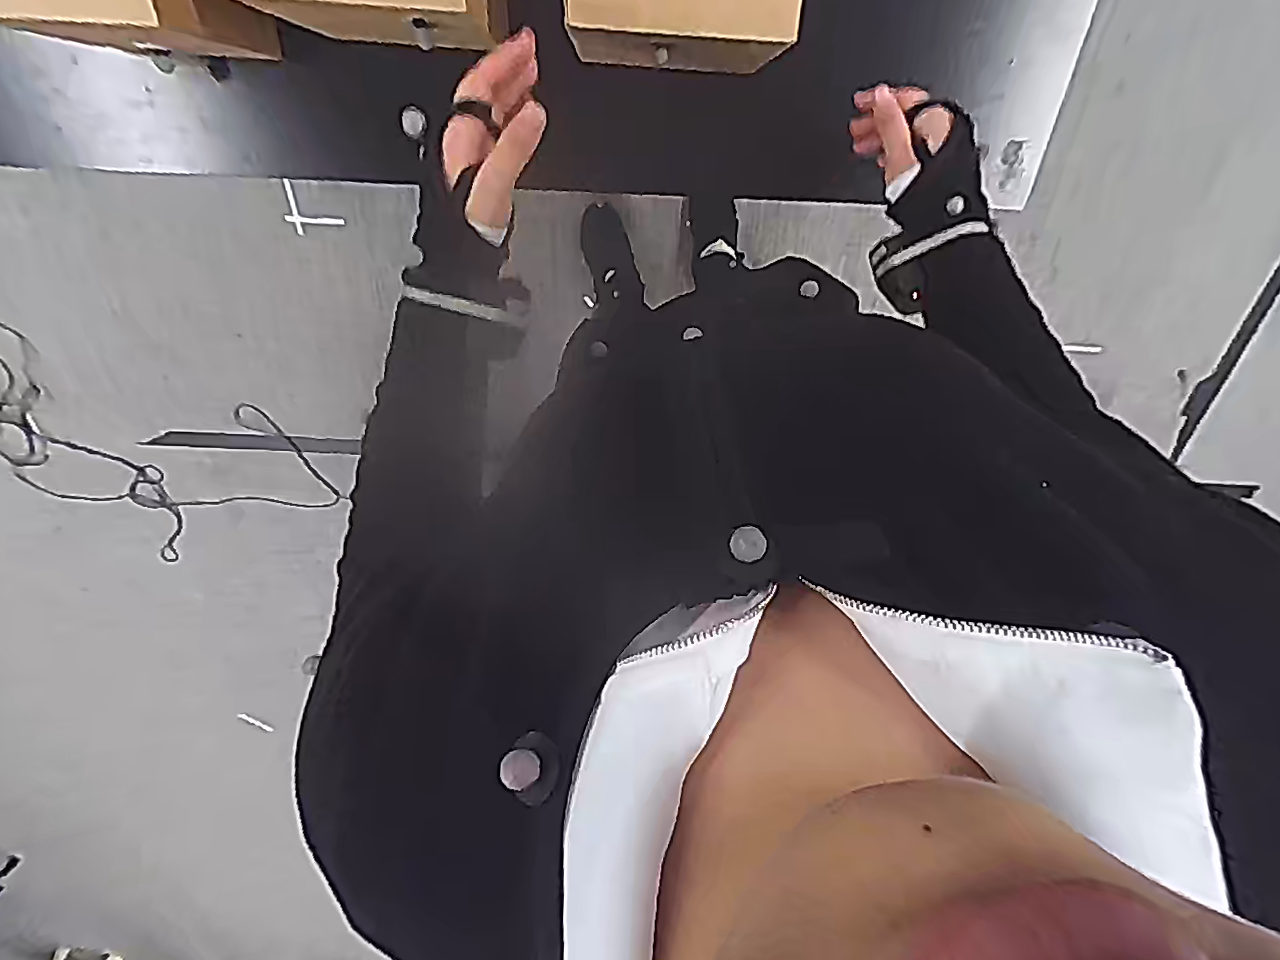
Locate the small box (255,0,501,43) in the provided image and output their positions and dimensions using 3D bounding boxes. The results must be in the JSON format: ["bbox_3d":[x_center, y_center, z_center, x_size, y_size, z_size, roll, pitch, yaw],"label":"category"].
[{"bbox_3d":[-0.207,-0.454,0.411,0.179,0.176,0.168,2,121,-3],"label":"small box"}]

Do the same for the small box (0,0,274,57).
[{"bbox_3d":[-0.427,-0.449,0.411,0.168,0.176,0.179,2,122,-1],"label":"small box"}]

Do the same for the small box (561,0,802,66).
[{"bbox_3d":[0.033,-0.442,0.425,0.179,0.176,0.168,2,121,-3],"label":"small box"}]
